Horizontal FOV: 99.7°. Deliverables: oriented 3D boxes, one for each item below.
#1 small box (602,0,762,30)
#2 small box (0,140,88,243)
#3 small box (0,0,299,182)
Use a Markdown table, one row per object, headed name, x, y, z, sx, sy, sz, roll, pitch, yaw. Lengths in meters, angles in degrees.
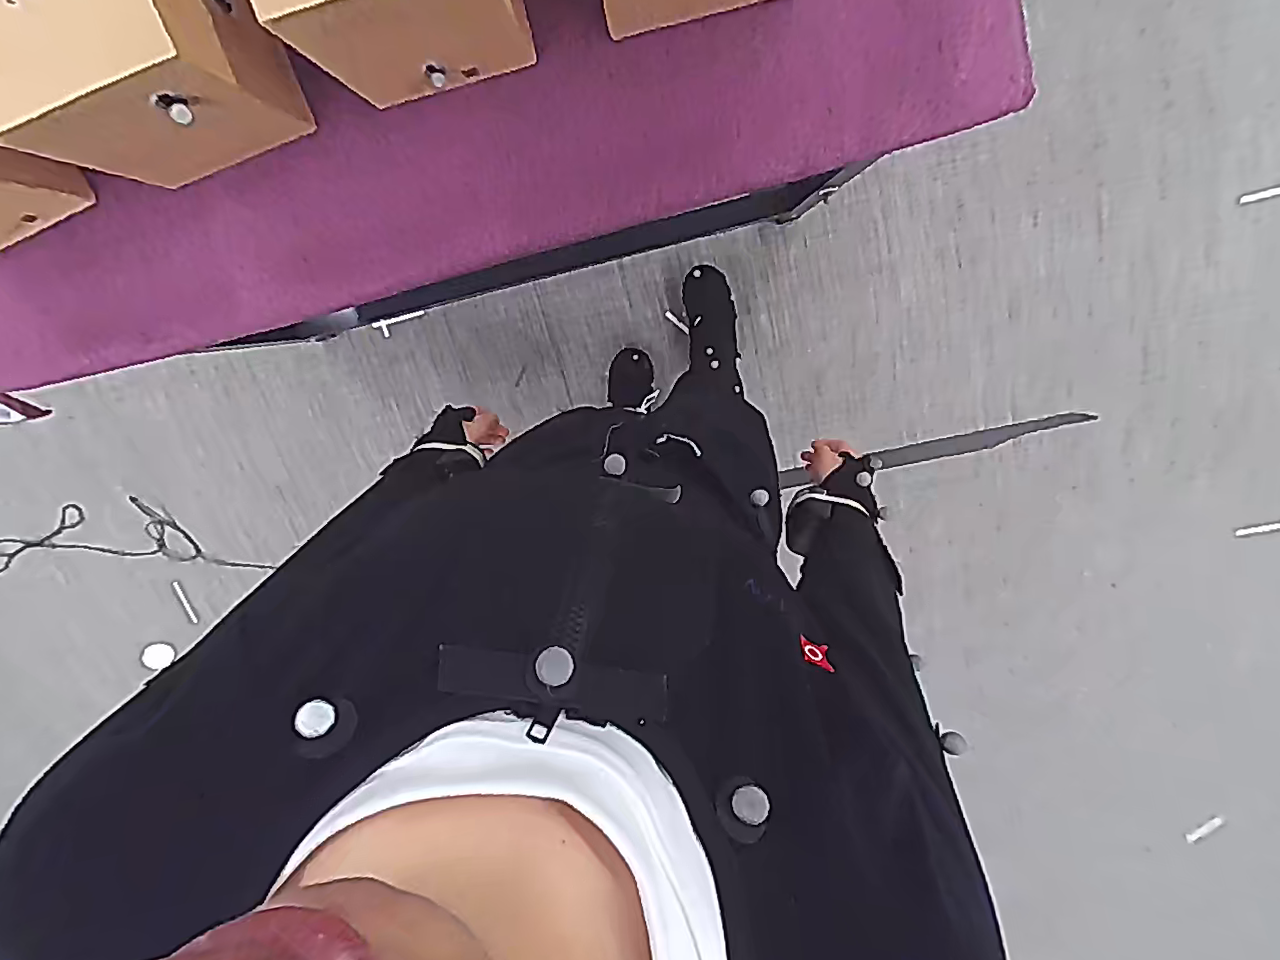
| name | x | y | z | sx | sy | sz | roll | pitch | yaw |
| --- | --- | --- | --- | --- | --- | --- | --- | --- | --- |
| small box | 0.038 | -0.478 | 0.396 | 0.179 | 0.176 | 0.168 | -10 | 105 | 5 |
| small box | -0.677 | -0.320 | 0.482 | 0.168 | 0.176 | 0.179 | -19 | 105 | 8 |
| small box | -0.428 | -0.377 | 0.451 | 0.179 | 0.176 | 0.168 | -16 | 105 | 7 |
